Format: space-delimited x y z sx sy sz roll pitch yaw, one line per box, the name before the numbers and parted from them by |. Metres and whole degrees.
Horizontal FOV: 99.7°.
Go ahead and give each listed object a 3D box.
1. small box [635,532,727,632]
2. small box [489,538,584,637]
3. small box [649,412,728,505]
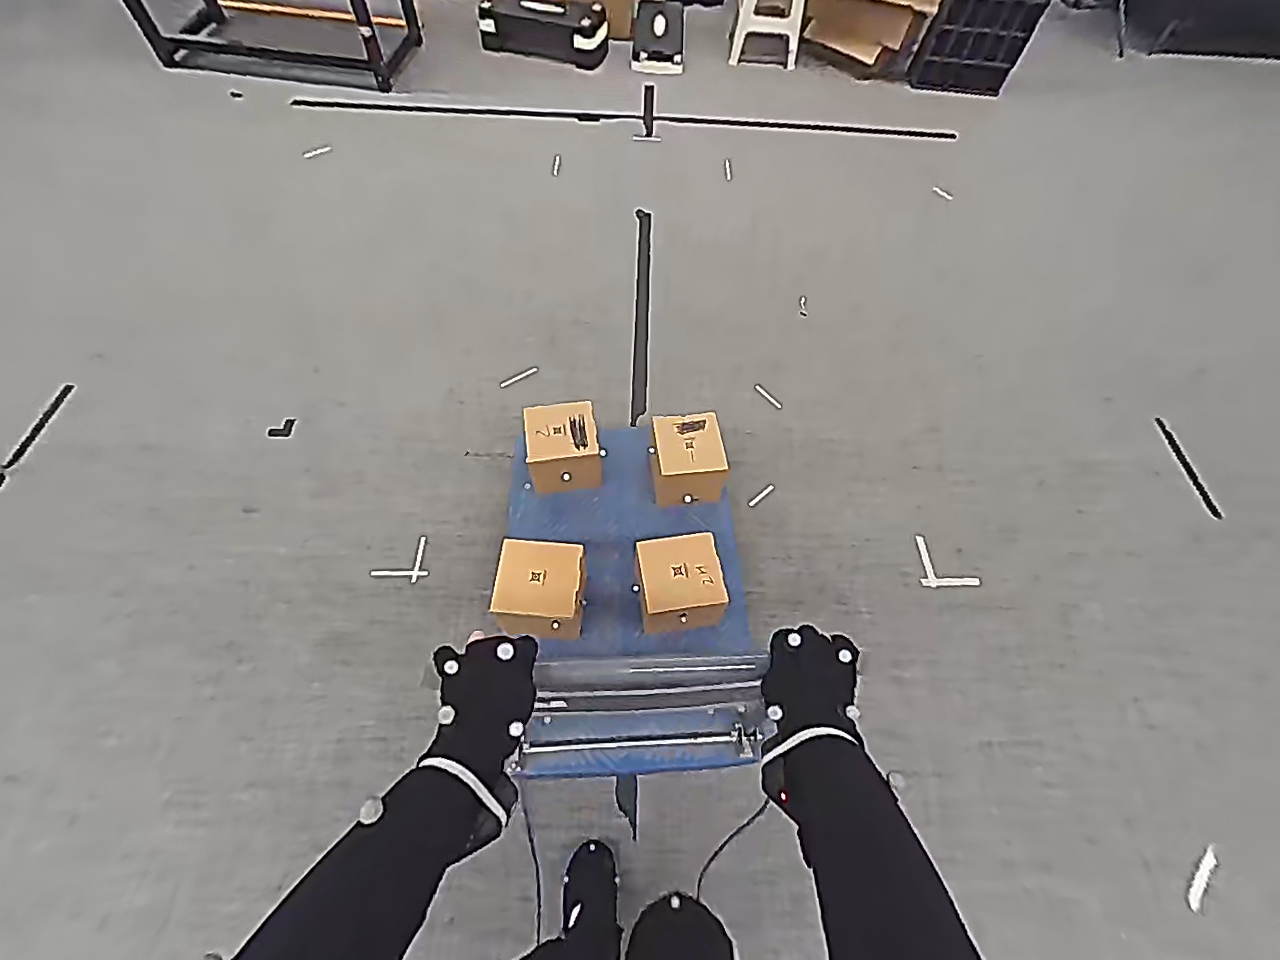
small box | 0.084 0.235 1.224 0.179 0.176 0.168 -7 60 -7
small box | -0.221 0.243 1.205 0.179 0.176 0.168 5 59 -2
small box | 0.117 -0.053 1.396 0.168 0.176 0.179 -5 61 -6
